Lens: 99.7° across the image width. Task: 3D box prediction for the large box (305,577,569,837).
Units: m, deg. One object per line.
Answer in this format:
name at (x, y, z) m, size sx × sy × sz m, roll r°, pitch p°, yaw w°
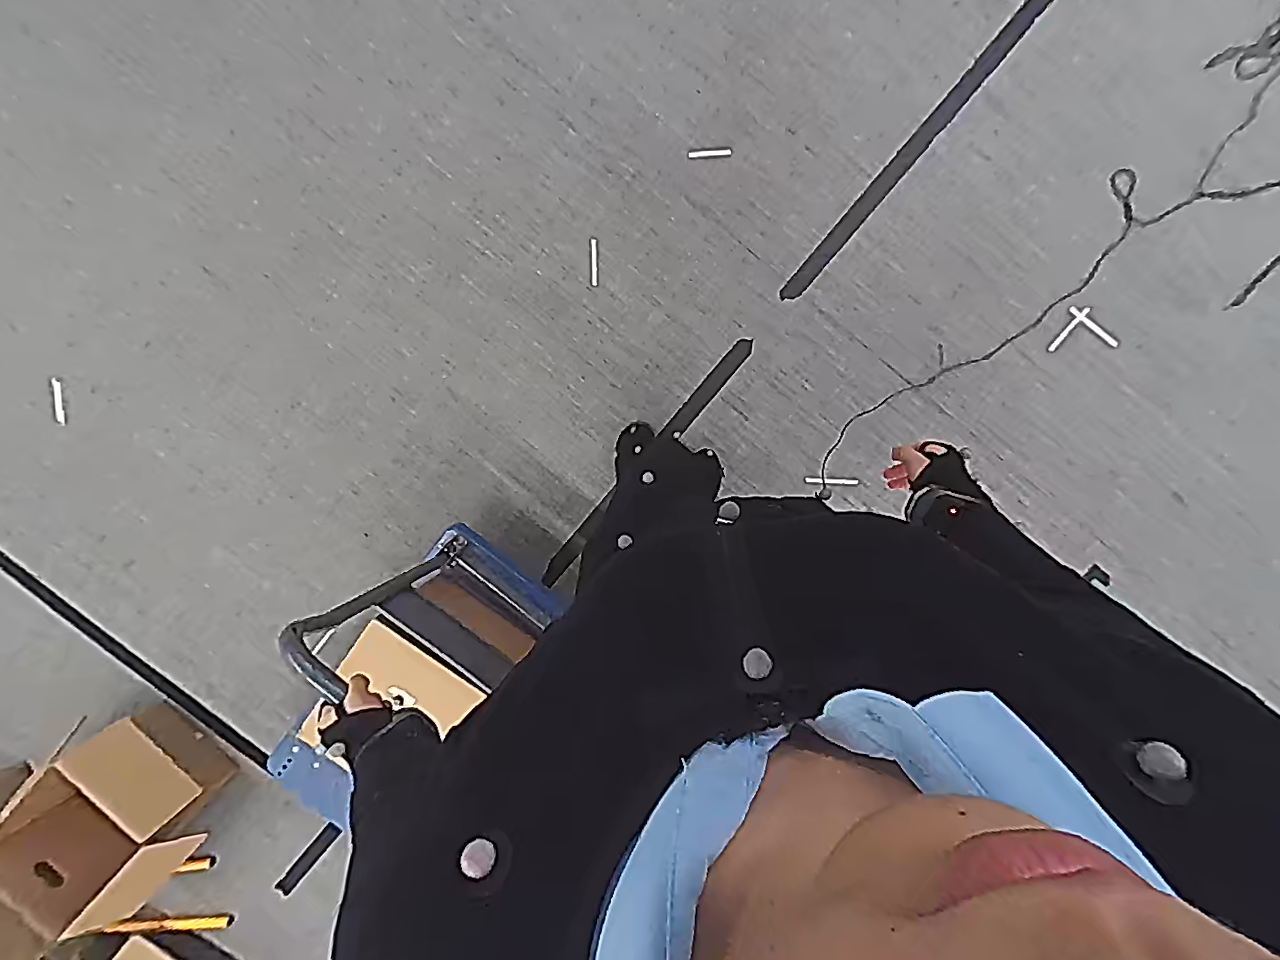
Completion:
large box at (-0.431, 0.490, 1.238) m, size 0.408 × 0.320 × 0.320 m, roll 35°, pitch 96°, yaw -1°
